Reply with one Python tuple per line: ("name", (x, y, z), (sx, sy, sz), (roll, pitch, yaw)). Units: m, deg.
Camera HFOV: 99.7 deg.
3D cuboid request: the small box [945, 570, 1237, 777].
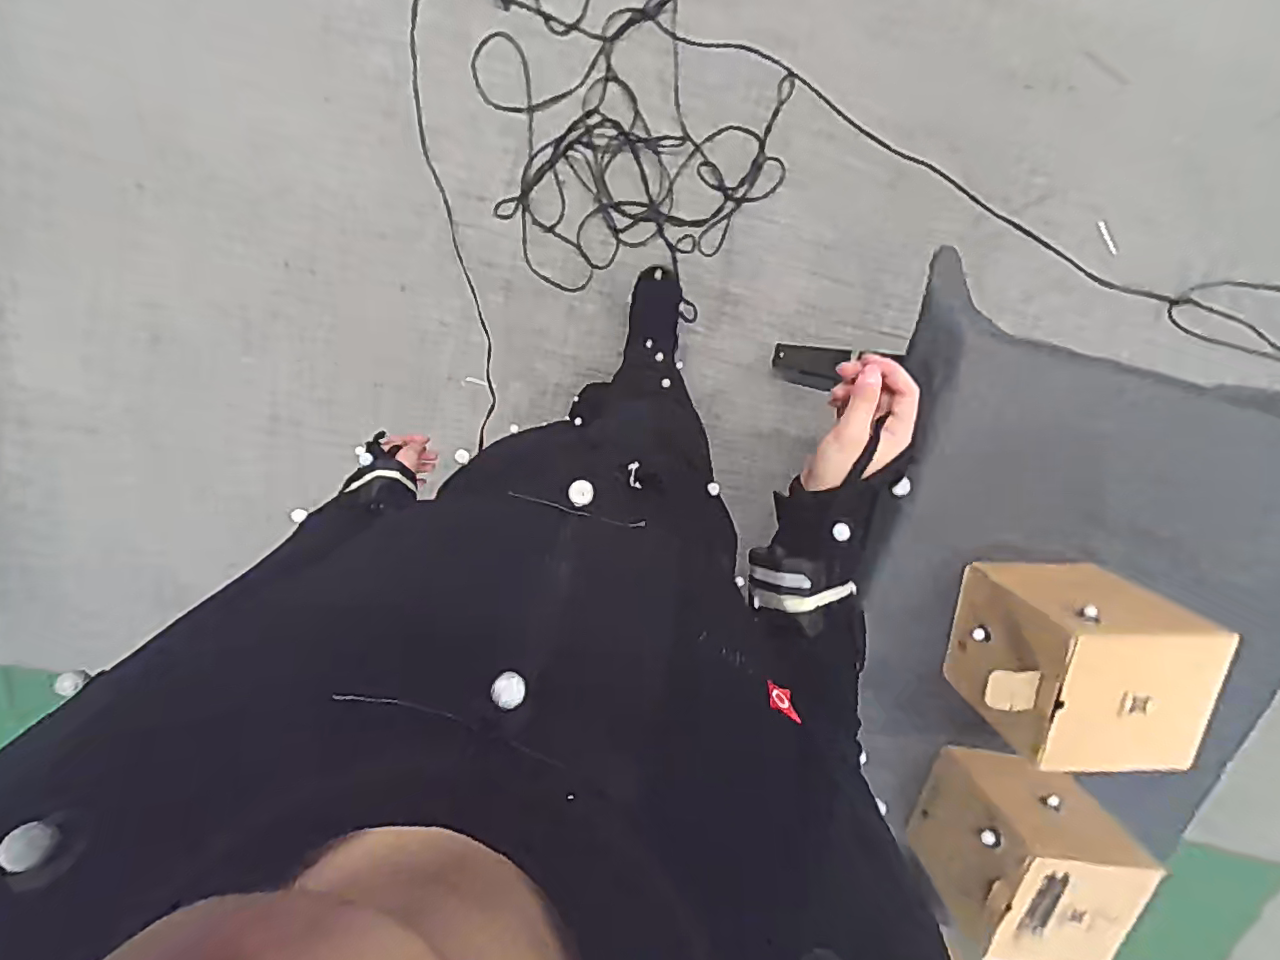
("small box", (0.501, 0.214, 0.631), (0.179, 0.176, 0.168), (1, 106, -4))
